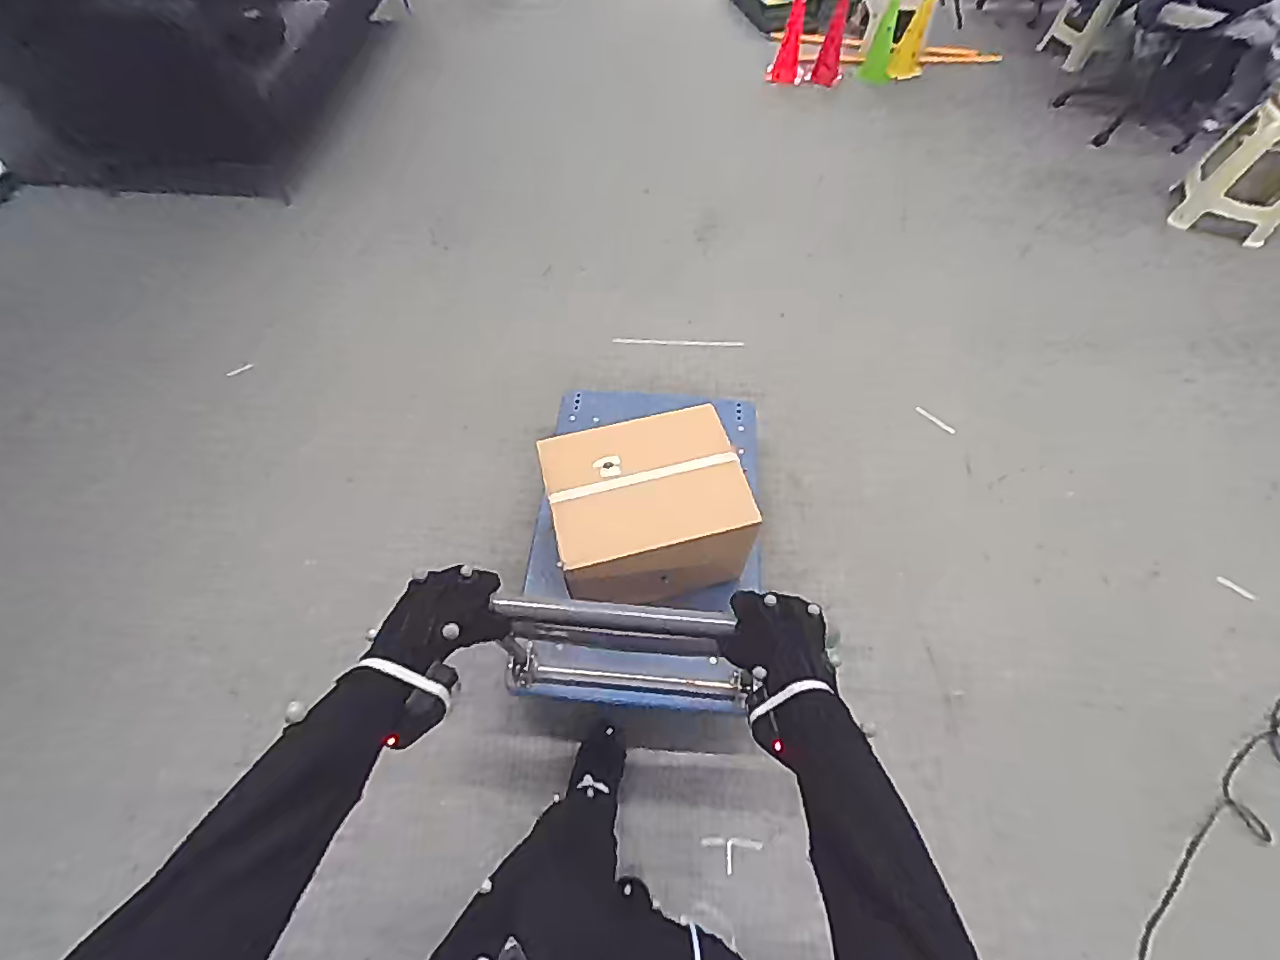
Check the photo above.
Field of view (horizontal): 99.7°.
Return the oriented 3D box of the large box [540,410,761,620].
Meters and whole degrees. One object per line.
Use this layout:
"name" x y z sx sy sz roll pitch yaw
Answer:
"large box" 0.016 0.089 1.250 0.408 0.320 0.320 -14 59 -7
